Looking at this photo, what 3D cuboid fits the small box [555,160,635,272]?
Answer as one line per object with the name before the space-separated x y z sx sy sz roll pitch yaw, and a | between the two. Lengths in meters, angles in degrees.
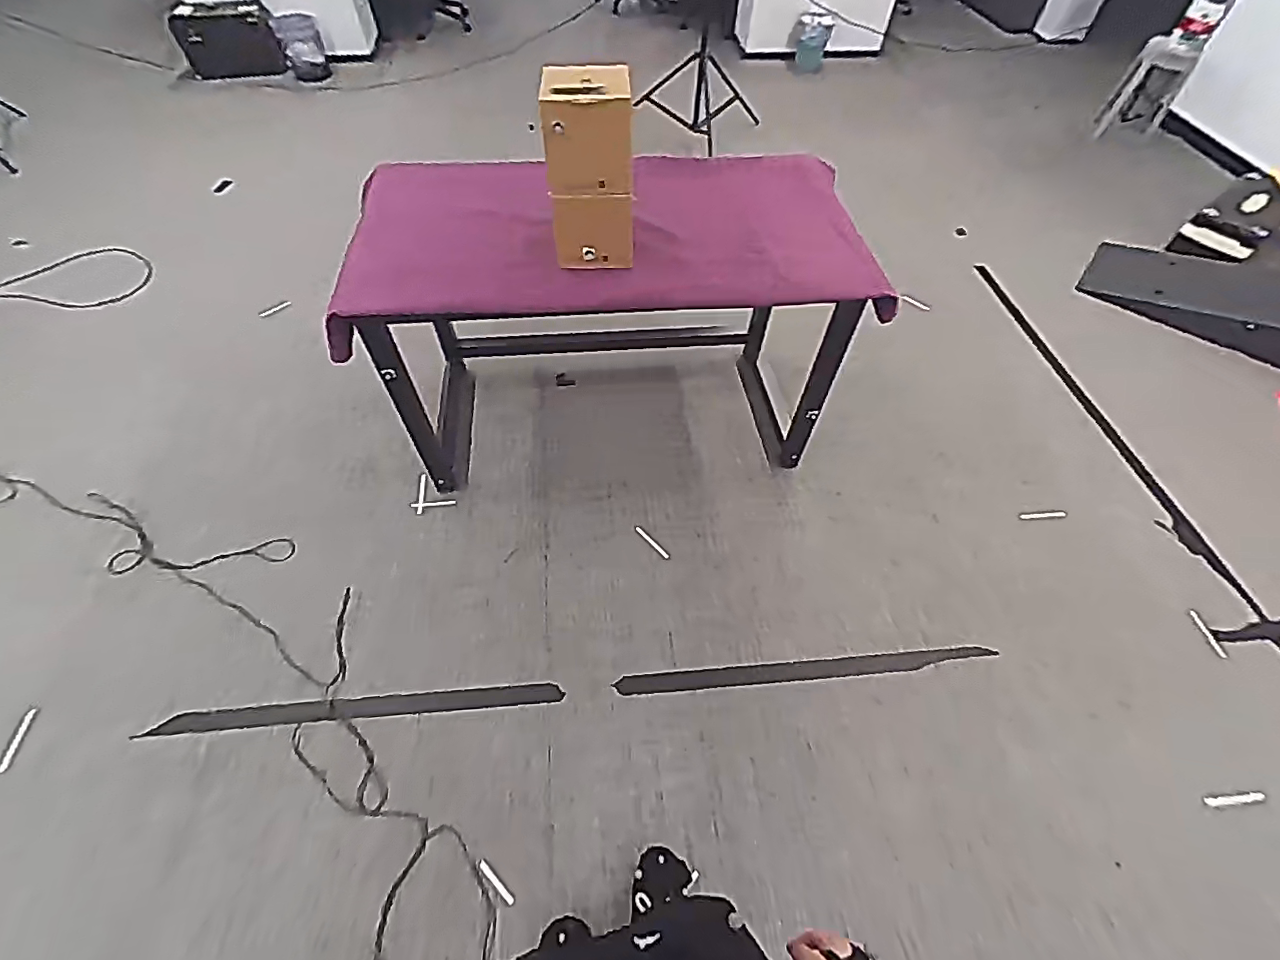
small box | -0.098 -0.588 1.209 0.168 0.176 0.179 -3 55 -2
